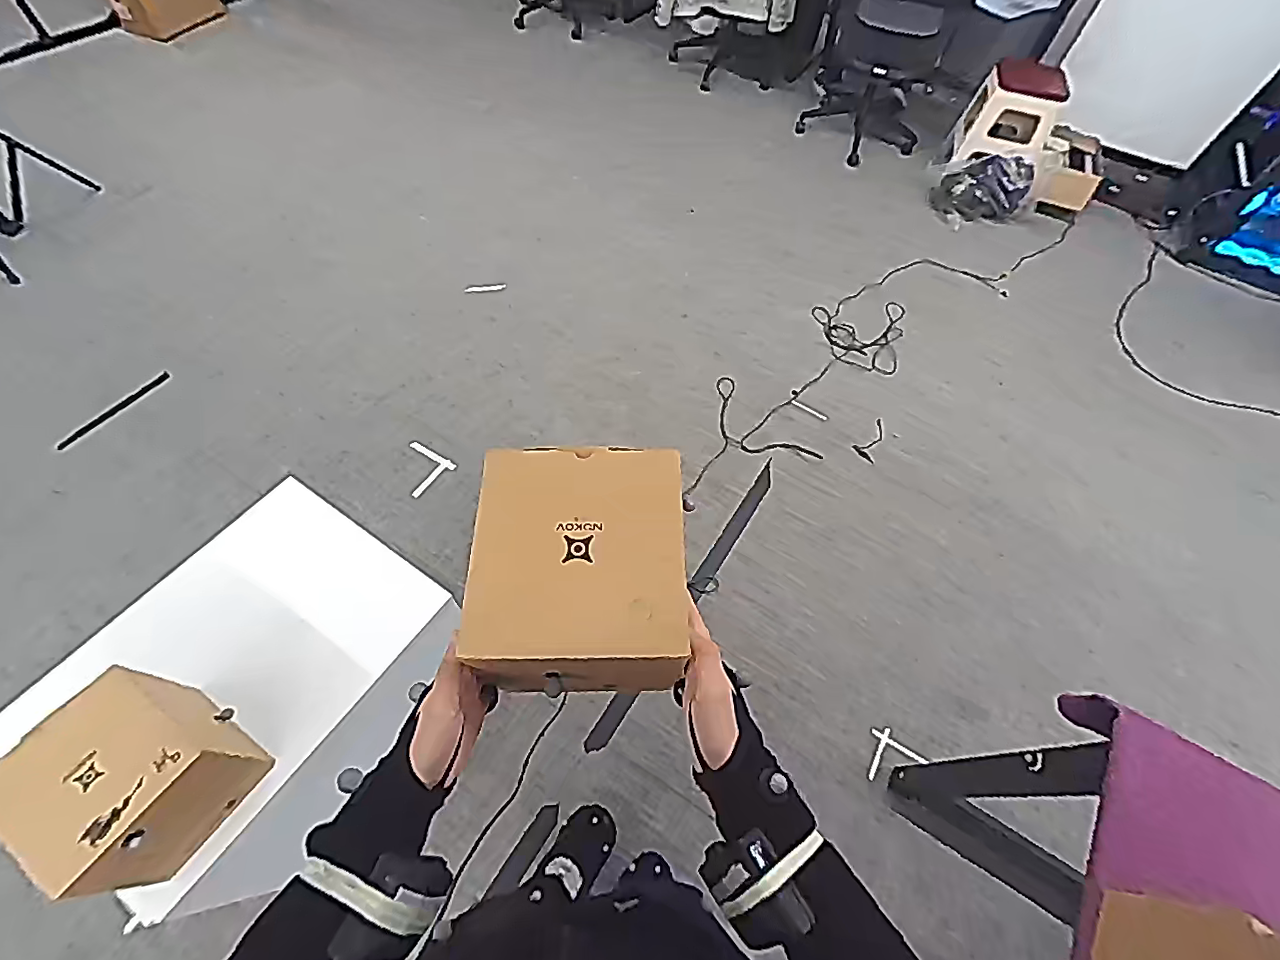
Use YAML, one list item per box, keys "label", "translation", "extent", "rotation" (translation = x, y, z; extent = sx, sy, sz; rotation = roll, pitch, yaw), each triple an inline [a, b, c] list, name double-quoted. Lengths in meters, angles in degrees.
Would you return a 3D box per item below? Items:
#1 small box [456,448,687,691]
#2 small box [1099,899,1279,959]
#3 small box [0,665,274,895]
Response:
- label: "small box"
  translation: [-0.048, 0.088, 0.484]
  extent: [0.168, 0.176, 0.179]
  rotation: [0, 60, -2]
- label: "small box"
  translation: [0.554, 0.531, 0.489]
  extent: [0.168, 0.176, 0.179]
  rotation: [34, 62, 15]
- label: "small box"
  translation: [-0.611, 0.364, 0.665]
  extent: [0.179, 0.176, 0.168]
  rotation: [30, 61, 15]
